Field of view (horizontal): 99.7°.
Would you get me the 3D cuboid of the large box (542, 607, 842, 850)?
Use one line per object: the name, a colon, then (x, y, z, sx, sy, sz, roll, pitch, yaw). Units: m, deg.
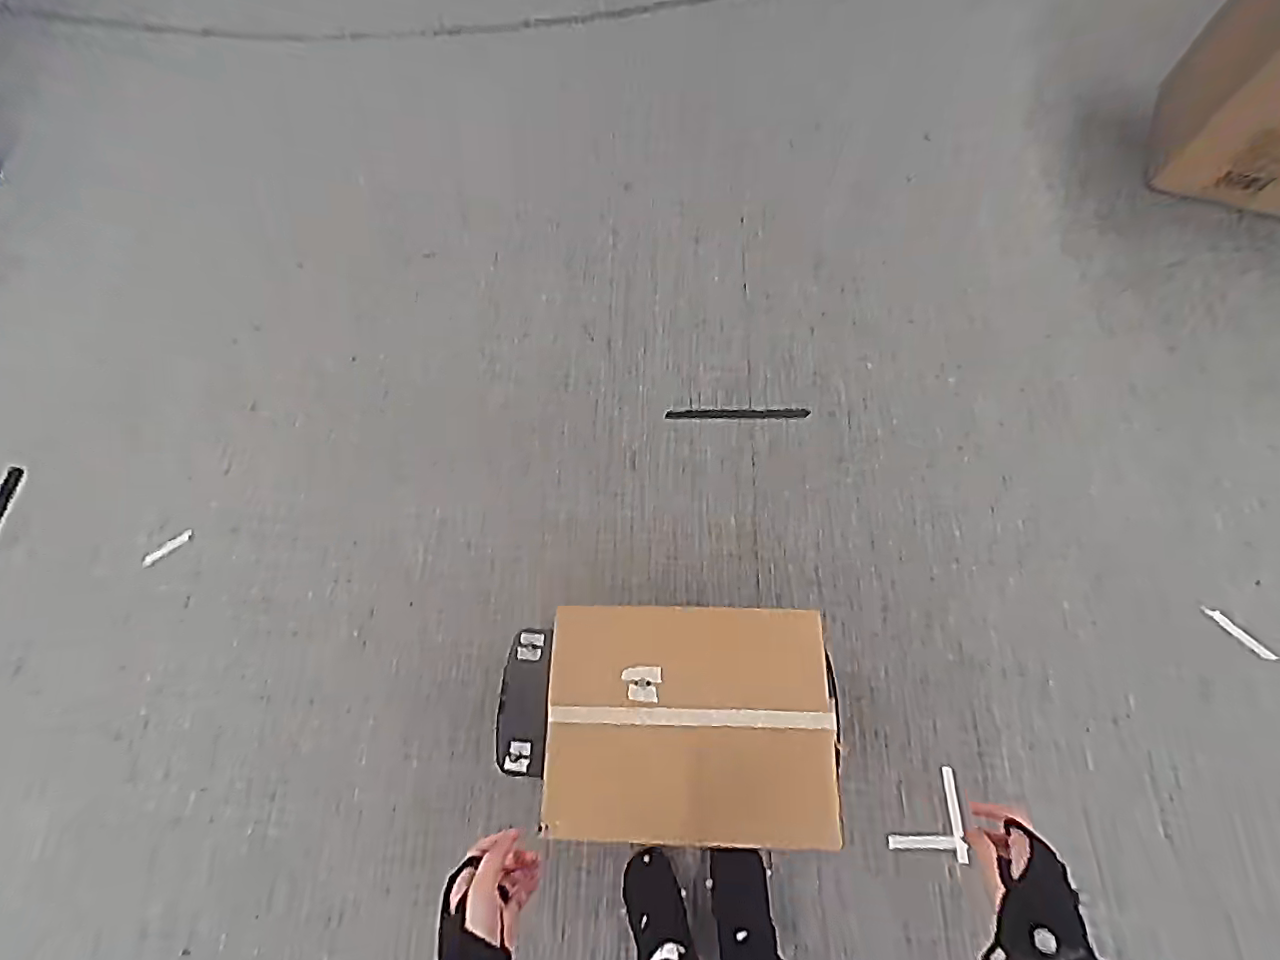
large box: (0.078, 0.391, 0.905, 0.408, 0.320, 0.320, 0, 68, 4)
